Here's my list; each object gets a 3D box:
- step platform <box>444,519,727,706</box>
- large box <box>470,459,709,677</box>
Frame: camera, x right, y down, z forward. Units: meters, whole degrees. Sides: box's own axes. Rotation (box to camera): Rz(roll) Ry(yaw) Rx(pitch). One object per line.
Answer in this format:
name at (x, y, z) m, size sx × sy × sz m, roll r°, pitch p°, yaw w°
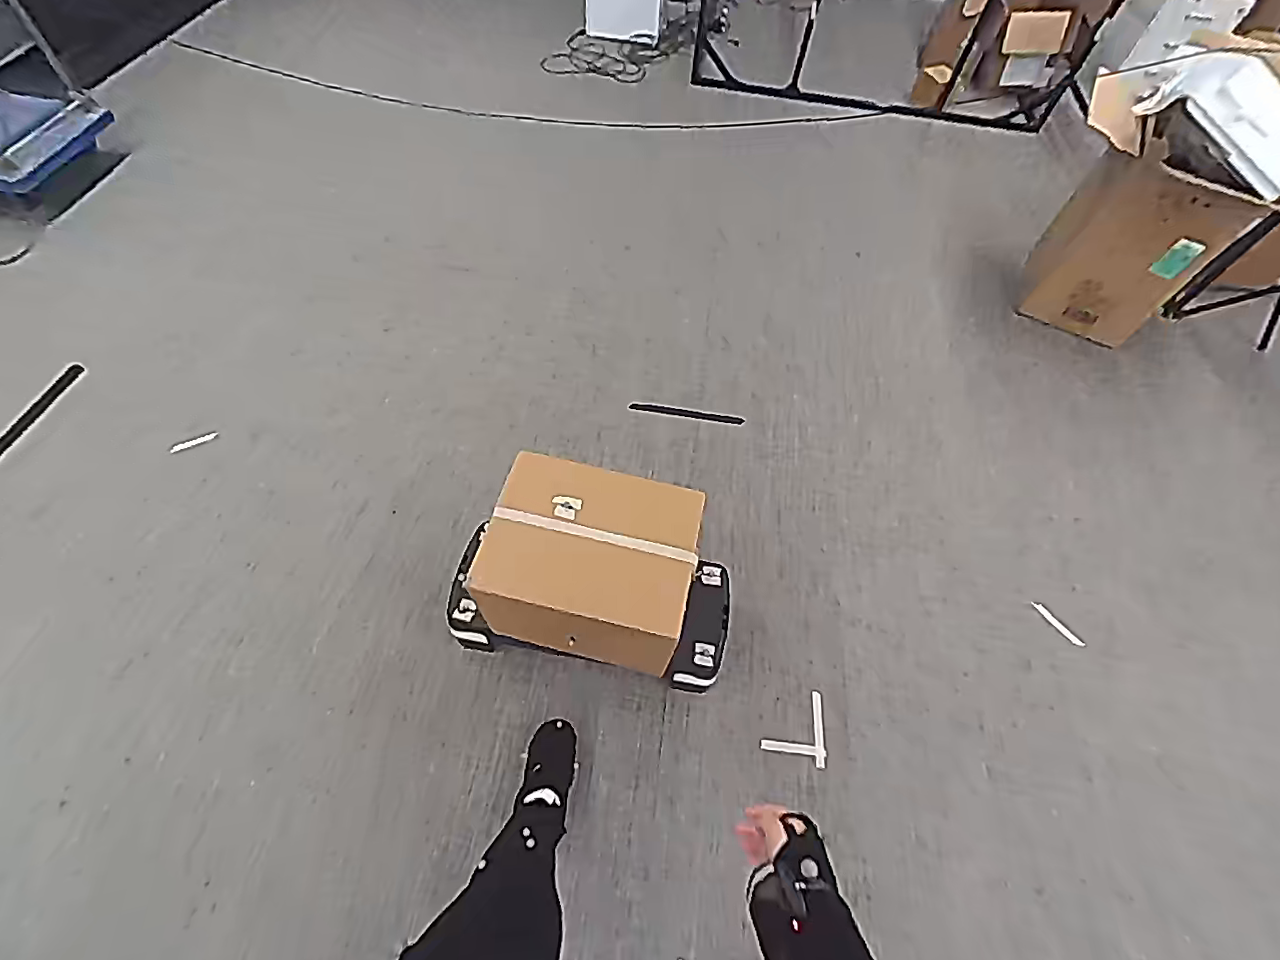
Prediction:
step platform at (-0.126, 0.324, 1.361) m, size 0.684 × 0.204 × 0.286 m, roll 14°, pitch 58°, yaw 6°
large box at (-0.087, 0.198, 1.160) m, size 0.408 × 0.320 × 0.320 m, roll 12°, pitch 57°, yaw 5°
